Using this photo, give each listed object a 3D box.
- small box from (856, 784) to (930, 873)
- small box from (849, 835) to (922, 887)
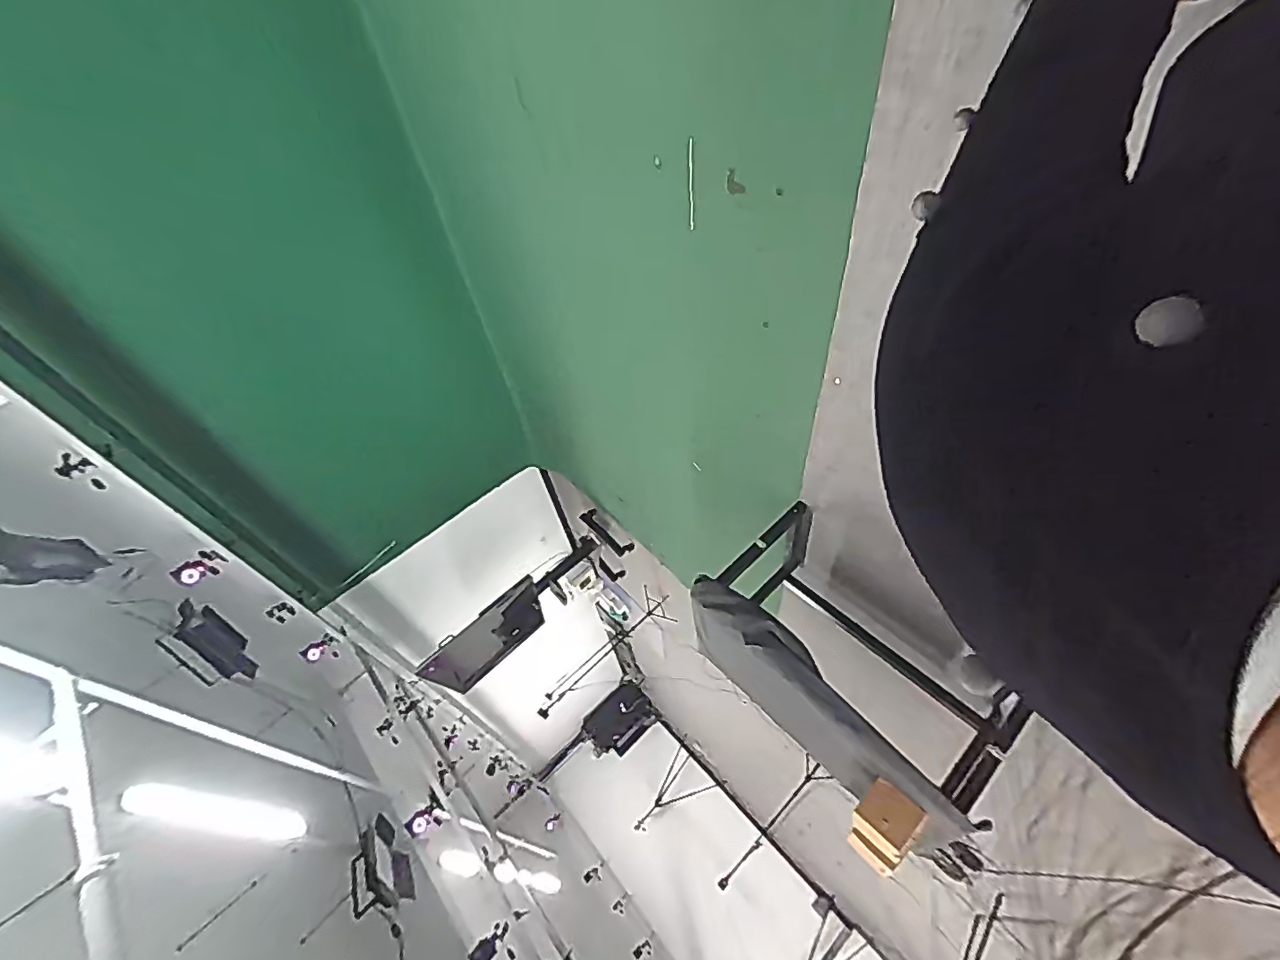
[{"bbox_3d":[0.881,1.213,1.885,0.179,0.176,0.168,34,152,43],"label":"small box"},{"bbox_3d":[0.938,1.408,2.074,0.179,0.176,0.168,38,154,34],"label":"small box"}]
